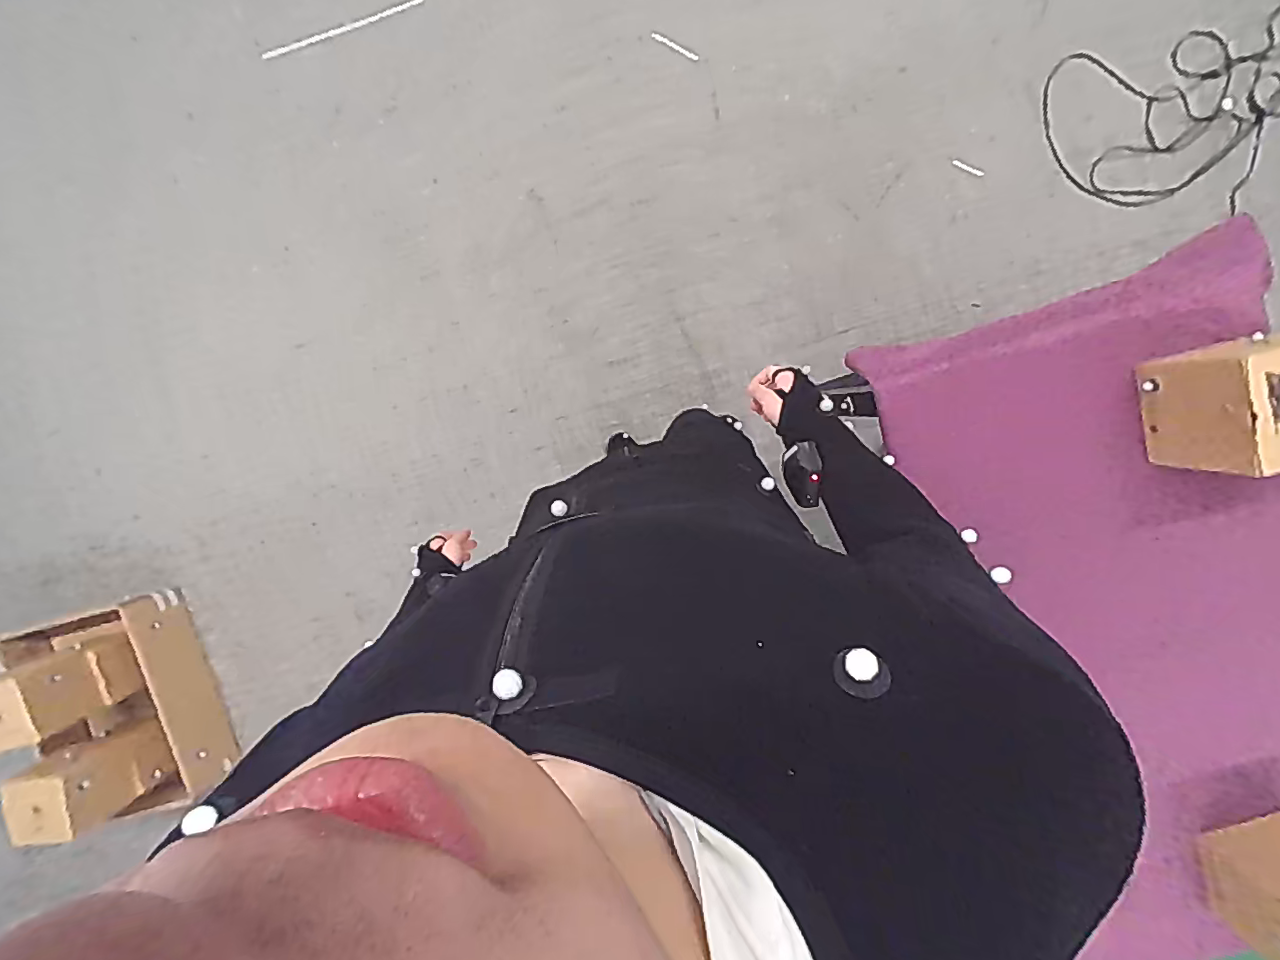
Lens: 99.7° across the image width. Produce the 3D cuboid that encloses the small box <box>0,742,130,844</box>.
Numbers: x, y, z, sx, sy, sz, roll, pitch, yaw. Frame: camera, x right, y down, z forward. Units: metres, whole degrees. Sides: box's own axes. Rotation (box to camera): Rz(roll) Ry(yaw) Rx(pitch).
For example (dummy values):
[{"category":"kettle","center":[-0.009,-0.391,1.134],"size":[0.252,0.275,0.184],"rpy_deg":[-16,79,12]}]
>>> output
[{"category":"small box","center":[-1.512,0.815,1.427],"size":[0.168,0.176,0.179],"rpy_deg":[-5,95,2]}]

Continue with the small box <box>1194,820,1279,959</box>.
[{"category":"small box","center":[1.090,0.701,0.889],"size":[0.179,0.176,0.168],"rpy_deg":[-18,95,2]}]

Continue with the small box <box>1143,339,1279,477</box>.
[{"category":"small box","center":[0.893,-0.109,0.792],"size":[0.179,0.176,0.168],"rpy_deg":[-14,97,3]}]
